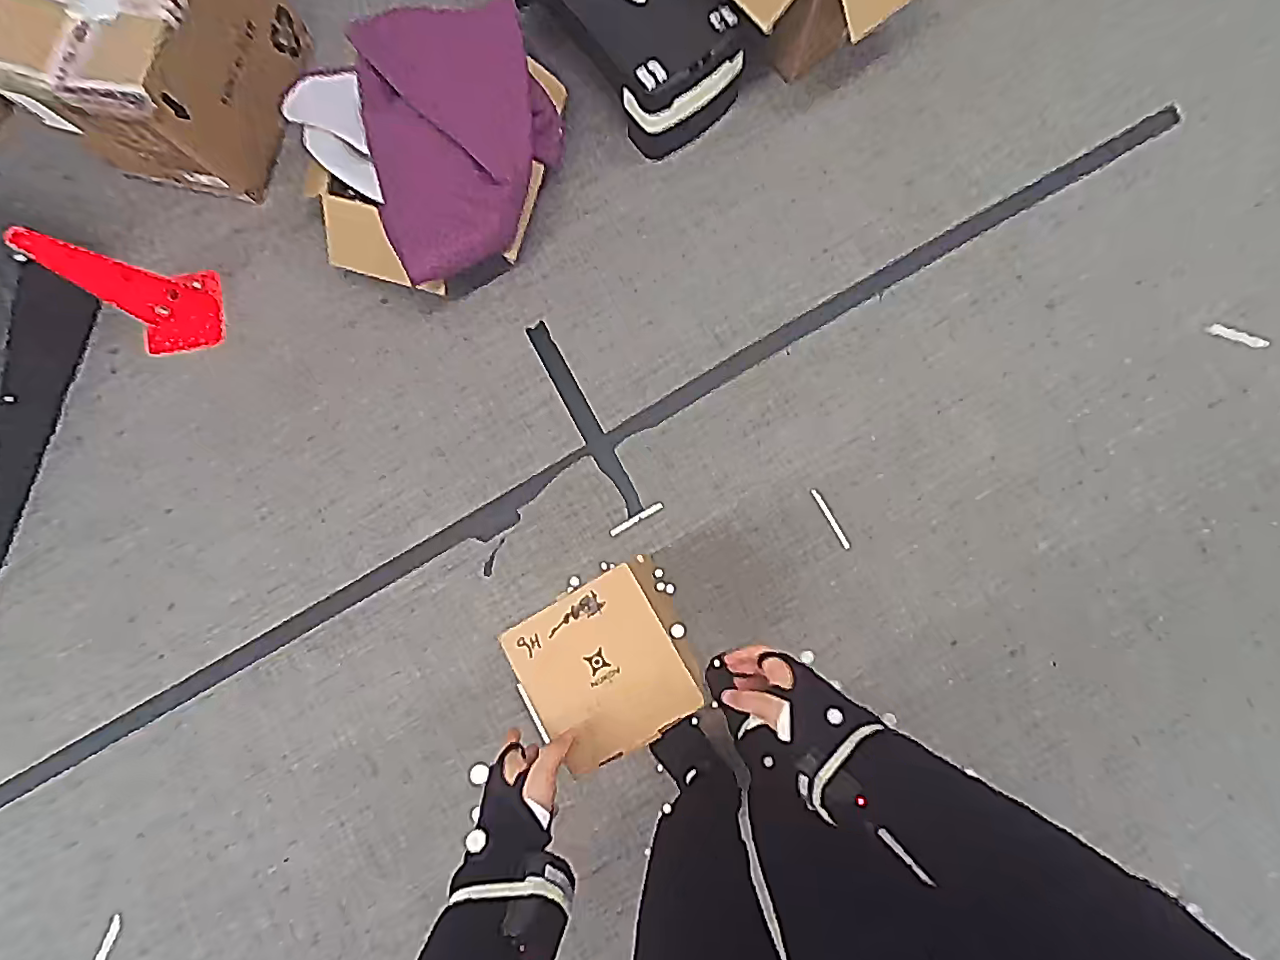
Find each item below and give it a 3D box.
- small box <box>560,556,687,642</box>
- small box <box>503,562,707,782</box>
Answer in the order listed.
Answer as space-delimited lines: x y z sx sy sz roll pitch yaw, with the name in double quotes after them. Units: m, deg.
-0.025 0.250 0.985 0.168 0.176 0.179 -26 83 0 "small box"
-0.034 0.216 0.660 0.168 0.176 0.179 -30 84 0 "small box"
